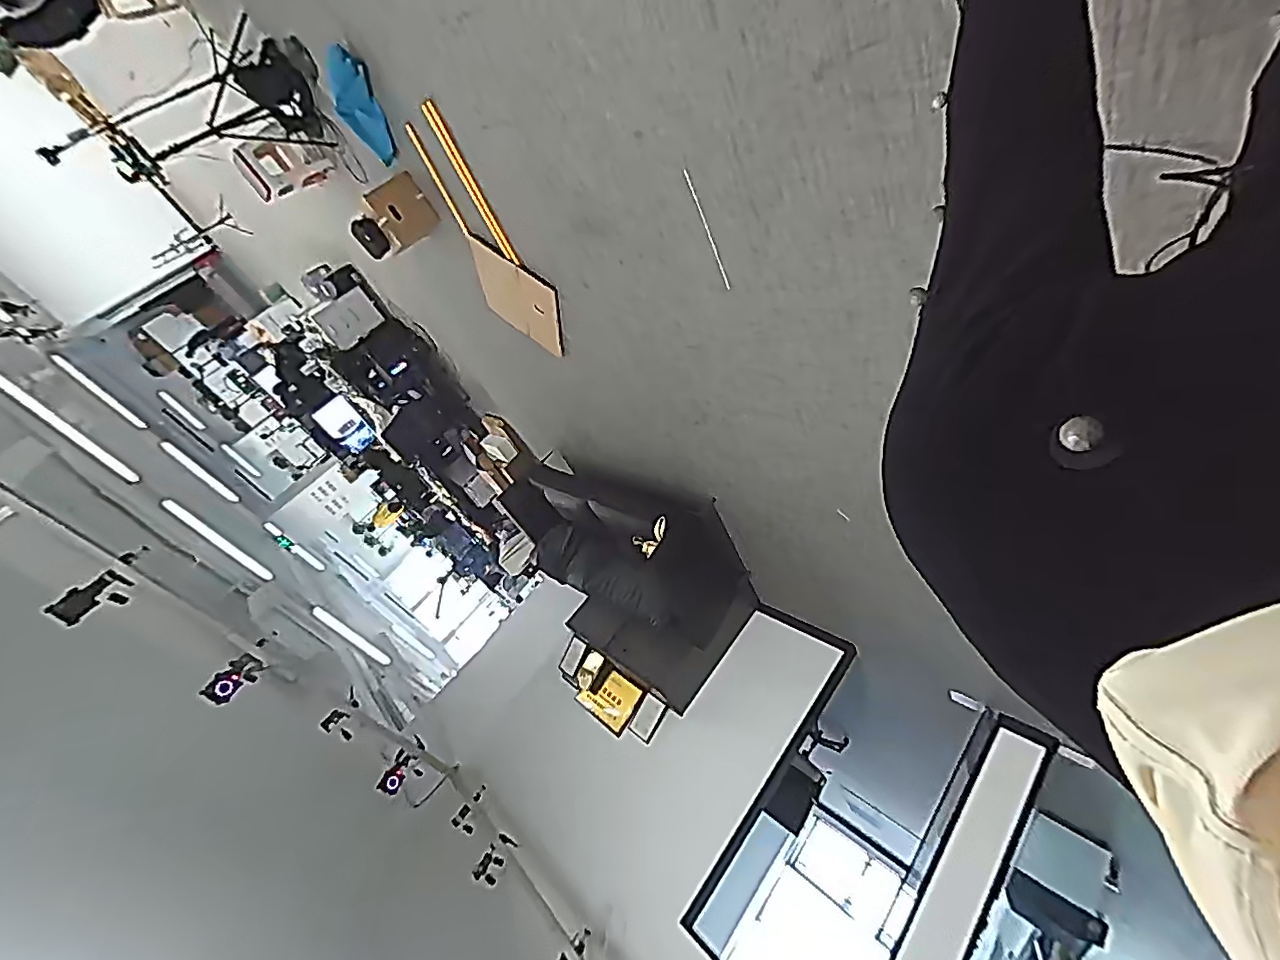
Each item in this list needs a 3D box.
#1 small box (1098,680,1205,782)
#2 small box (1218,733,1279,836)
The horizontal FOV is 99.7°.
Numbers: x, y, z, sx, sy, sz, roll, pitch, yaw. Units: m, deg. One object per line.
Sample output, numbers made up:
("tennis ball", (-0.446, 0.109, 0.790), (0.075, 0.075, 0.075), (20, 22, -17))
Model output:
("small box", (1.420, 0.689, 1.501), (0.168, 0.176, 0.179), (24, 152, 40))
("small box", (1.604, 0.769, 1.342), (0.168, 0.176, 0.179), (25, 152, 39))
